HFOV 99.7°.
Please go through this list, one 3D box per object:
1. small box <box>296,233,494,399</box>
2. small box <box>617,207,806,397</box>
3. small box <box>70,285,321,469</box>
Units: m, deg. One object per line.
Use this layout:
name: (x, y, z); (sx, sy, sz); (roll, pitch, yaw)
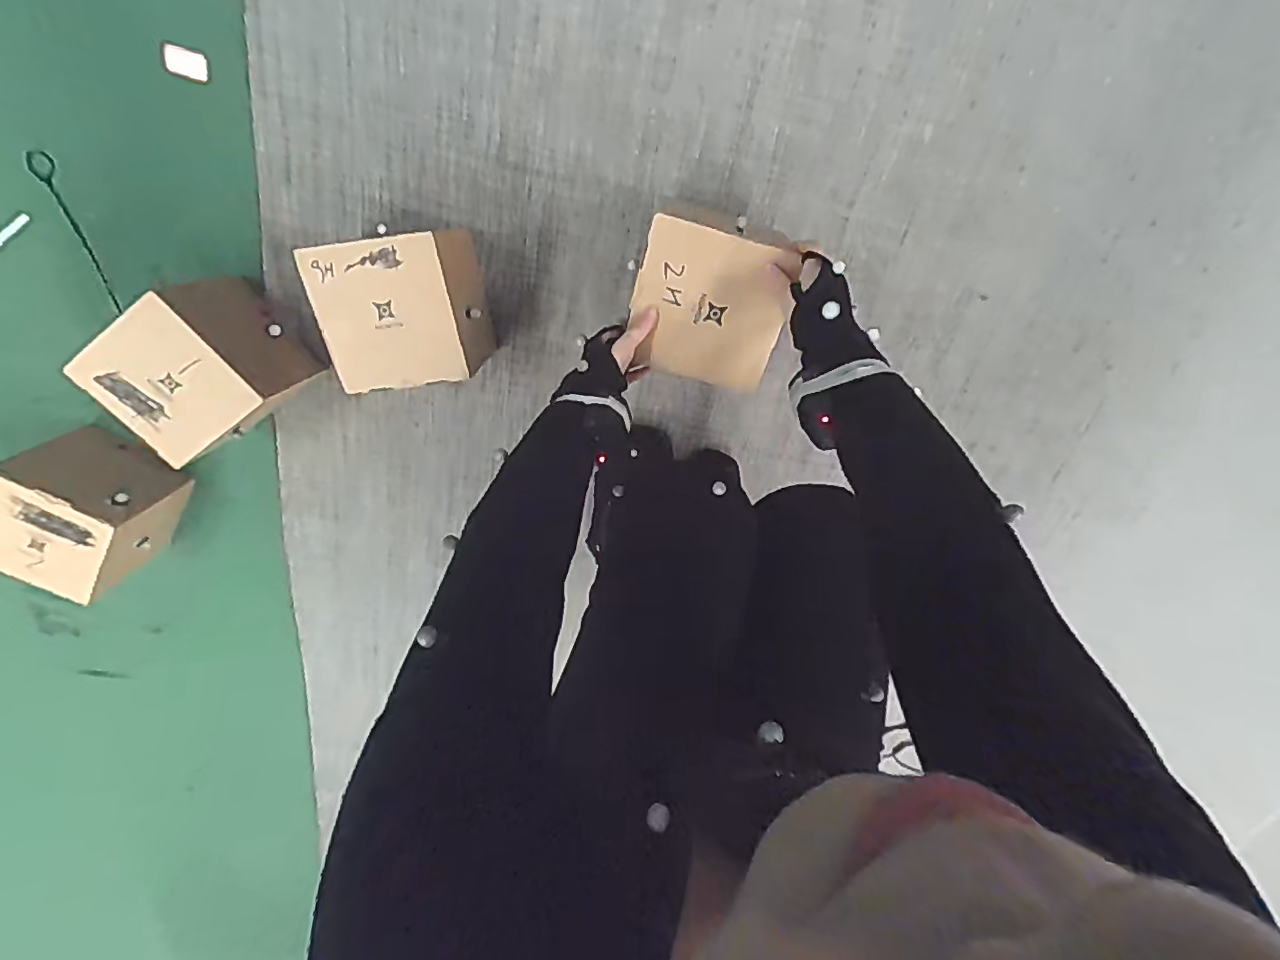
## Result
small box: (-0.308, -0.225, 0.727); (0.168, 0.176, 0.179); (-7, 116, 1)
small box: (0.080, -0.231, 0.683); (0.179, 0.176, 0.168); (14, 122, -6)
small box: (-0.596, -0.149, 0.754); (0.179, 0.176, 0.168); (-31, 113, 12)
